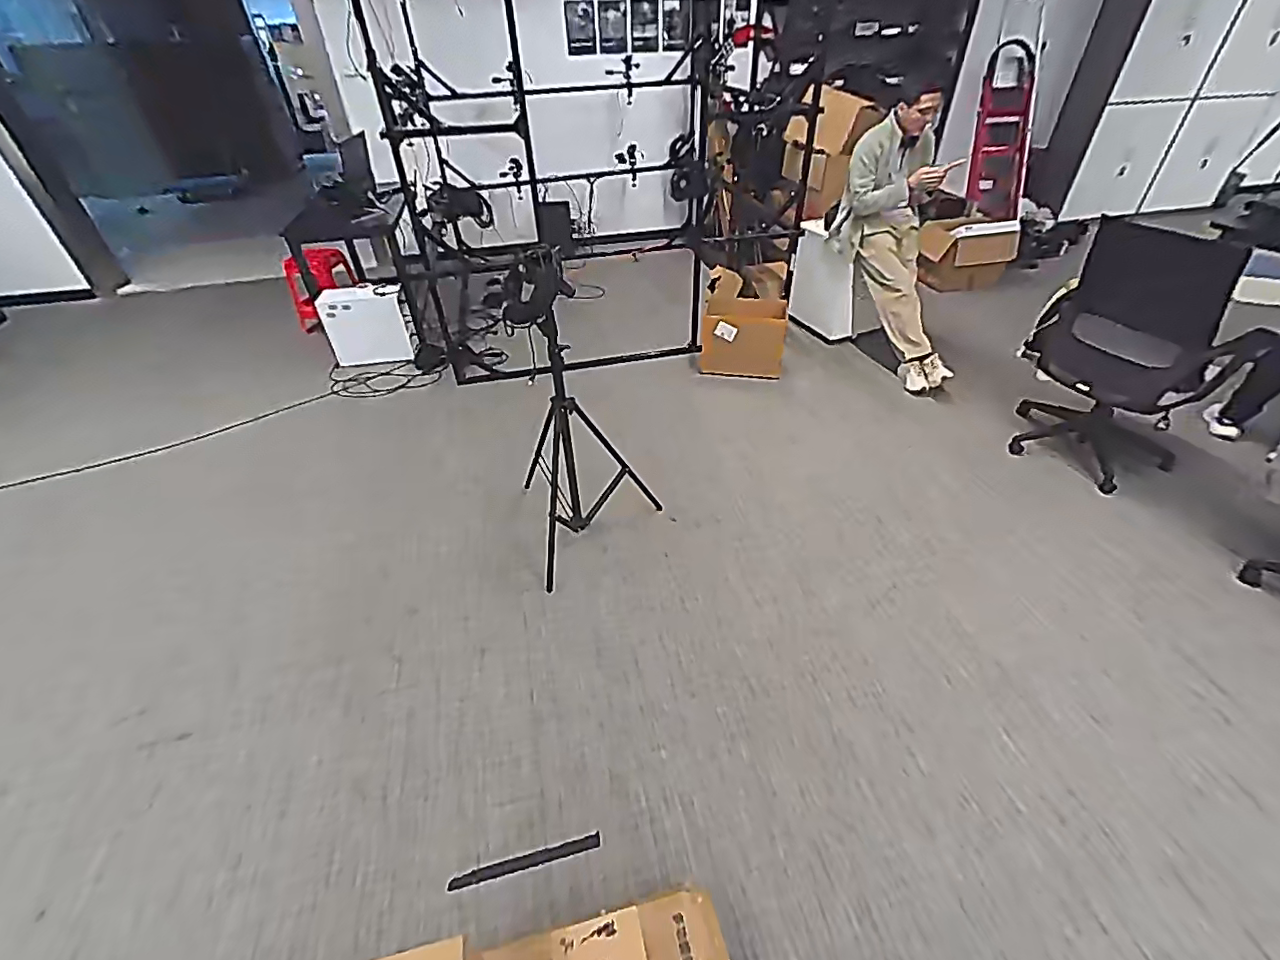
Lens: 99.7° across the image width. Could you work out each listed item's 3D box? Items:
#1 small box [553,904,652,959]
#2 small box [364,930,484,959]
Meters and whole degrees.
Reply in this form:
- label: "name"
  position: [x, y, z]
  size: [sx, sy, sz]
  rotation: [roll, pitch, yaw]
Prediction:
- label: "small box"
  position: [-0.057, 0.926, 0.994]
  size: [0.168, 0.176, 0.179]
  rotation: [-11, 40, -7]
- label: "small box"
  position: [-0.334, 0.849, 0.839]
  size: [0.168, 0.176, 0.179]
  rotation: [-9, 40, -9]
